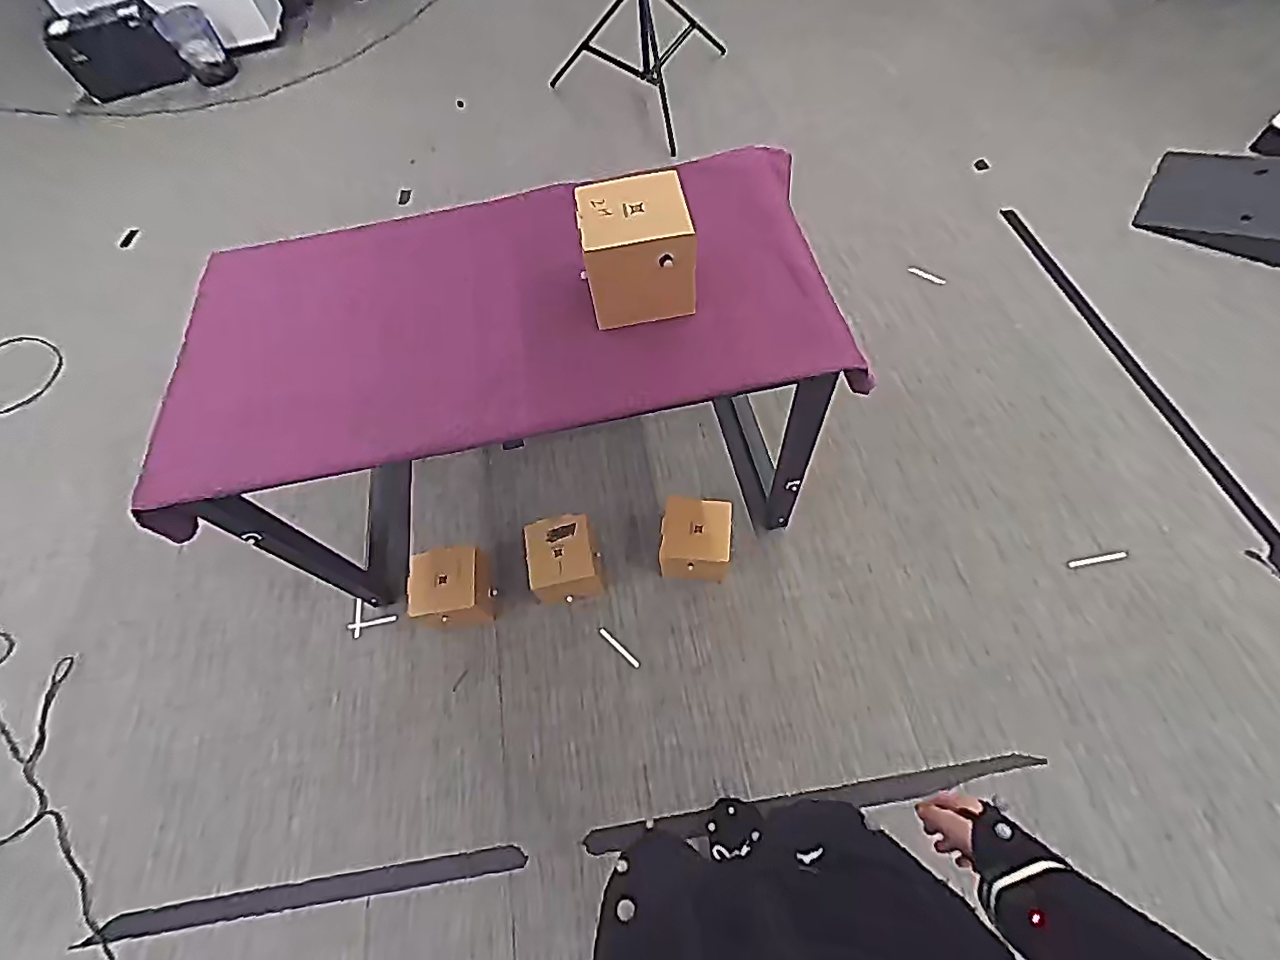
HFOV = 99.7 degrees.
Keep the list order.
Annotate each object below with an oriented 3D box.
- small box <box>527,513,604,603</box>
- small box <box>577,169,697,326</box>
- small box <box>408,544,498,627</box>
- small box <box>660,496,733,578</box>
[{"bbox_3d":[-0.198,0.212,1.455,0.168,0.176,0.179,-12,63,0],"label":"small box"},{"bbox_3d":[-0.003,-0.390,0.924,0.179,0.176,0.168,-10,61,1],"label":"small box"},{"bbox_3d":[-0.495,0.288,1.449,0.179,0.176,0.168,-9,62,0],"label":"small box"},{"bbox_3d":[0.154,0.158,1.449,0.179,0.176,0.168,3,63,9],"label":"small box"}]
